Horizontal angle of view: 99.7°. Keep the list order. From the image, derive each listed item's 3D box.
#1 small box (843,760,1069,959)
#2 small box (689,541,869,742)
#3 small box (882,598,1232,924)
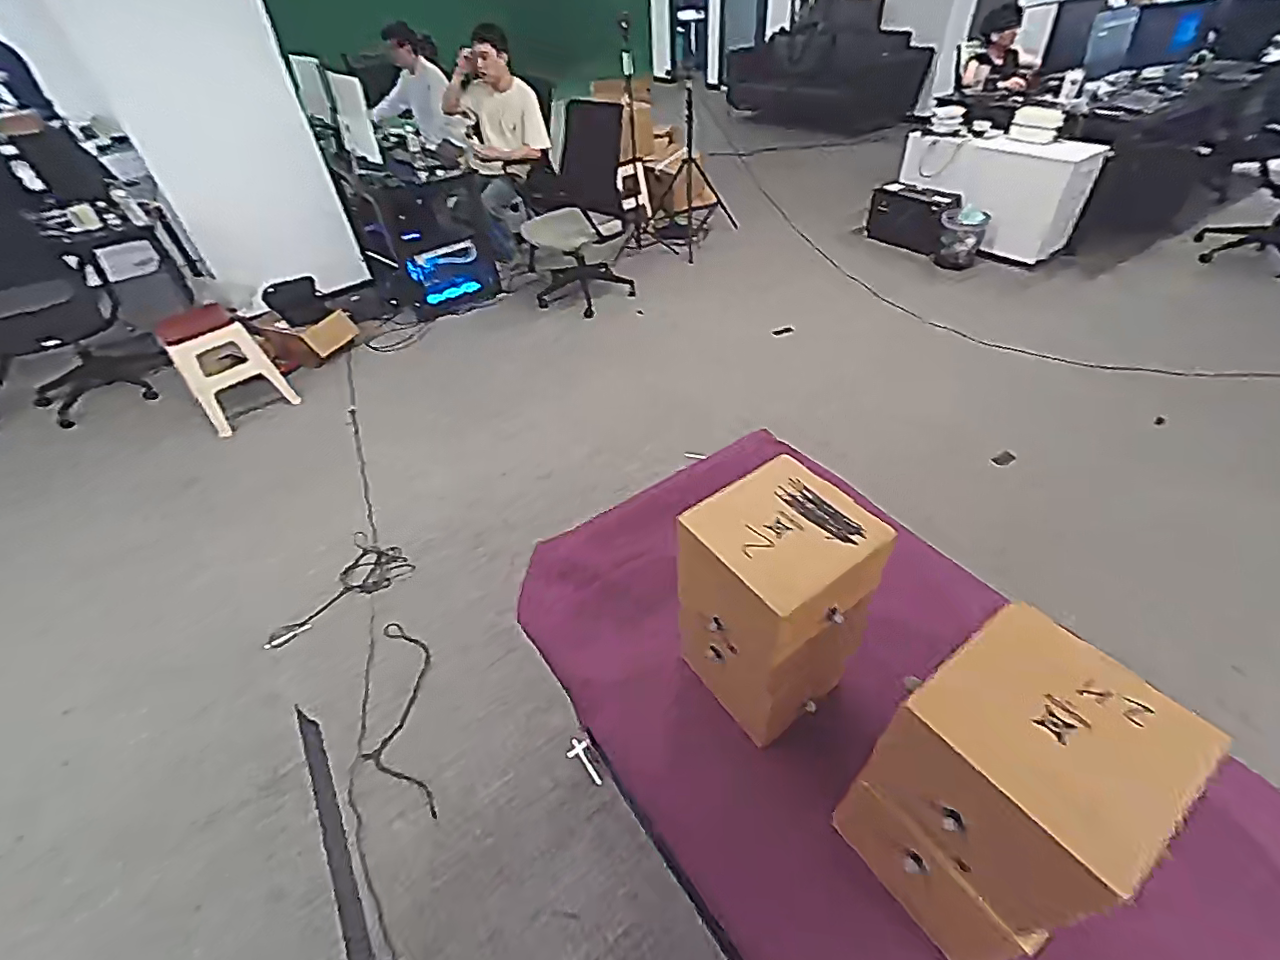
[{"bbox_3d":[0.354,0.377,0.593,0.168,0.176,0.179,-28,47,-22],"label":"small box"},{"bbox_3d":[0.183,0.227,0.765,0.168,0.176,0.179,-29,49,-22],"label":"small box"},{"bbox_3d":[0.346,0.250,0.488,0.179,0.176,0.168,-28,48,-22],"label":"small box"}]
